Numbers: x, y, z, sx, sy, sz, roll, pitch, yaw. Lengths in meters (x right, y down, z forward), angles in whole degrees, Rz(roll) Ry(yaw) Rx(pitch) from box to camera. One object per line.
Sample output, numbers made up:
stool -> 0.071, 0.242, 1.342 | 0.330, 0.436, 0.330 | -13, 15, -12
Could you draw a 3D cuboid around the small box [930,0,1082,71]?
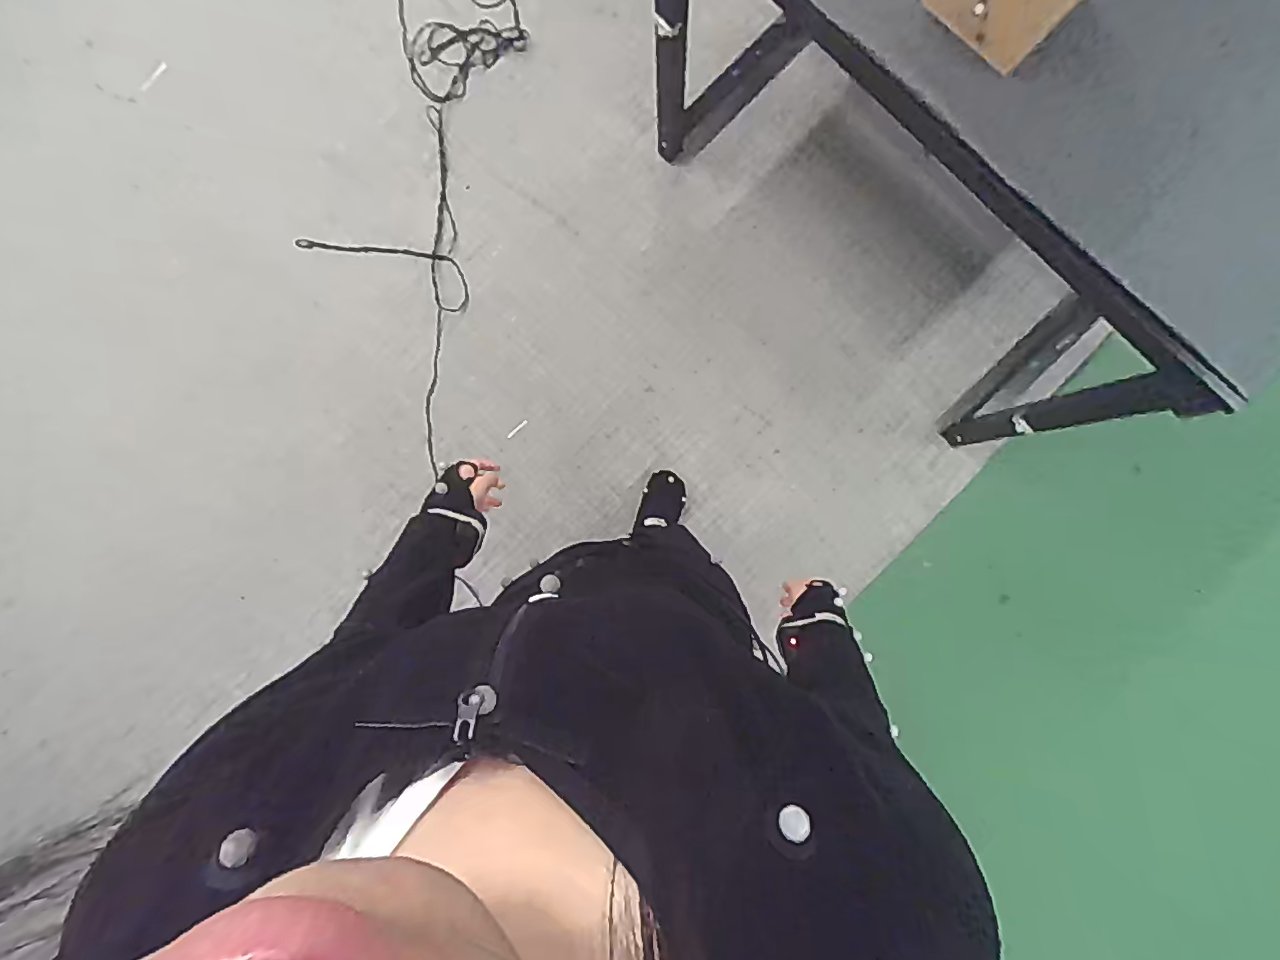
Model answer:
small box -> 0.520, -0.694, 0.692 | 0.168, 0.176, 0.179 | 45, 90, 4
